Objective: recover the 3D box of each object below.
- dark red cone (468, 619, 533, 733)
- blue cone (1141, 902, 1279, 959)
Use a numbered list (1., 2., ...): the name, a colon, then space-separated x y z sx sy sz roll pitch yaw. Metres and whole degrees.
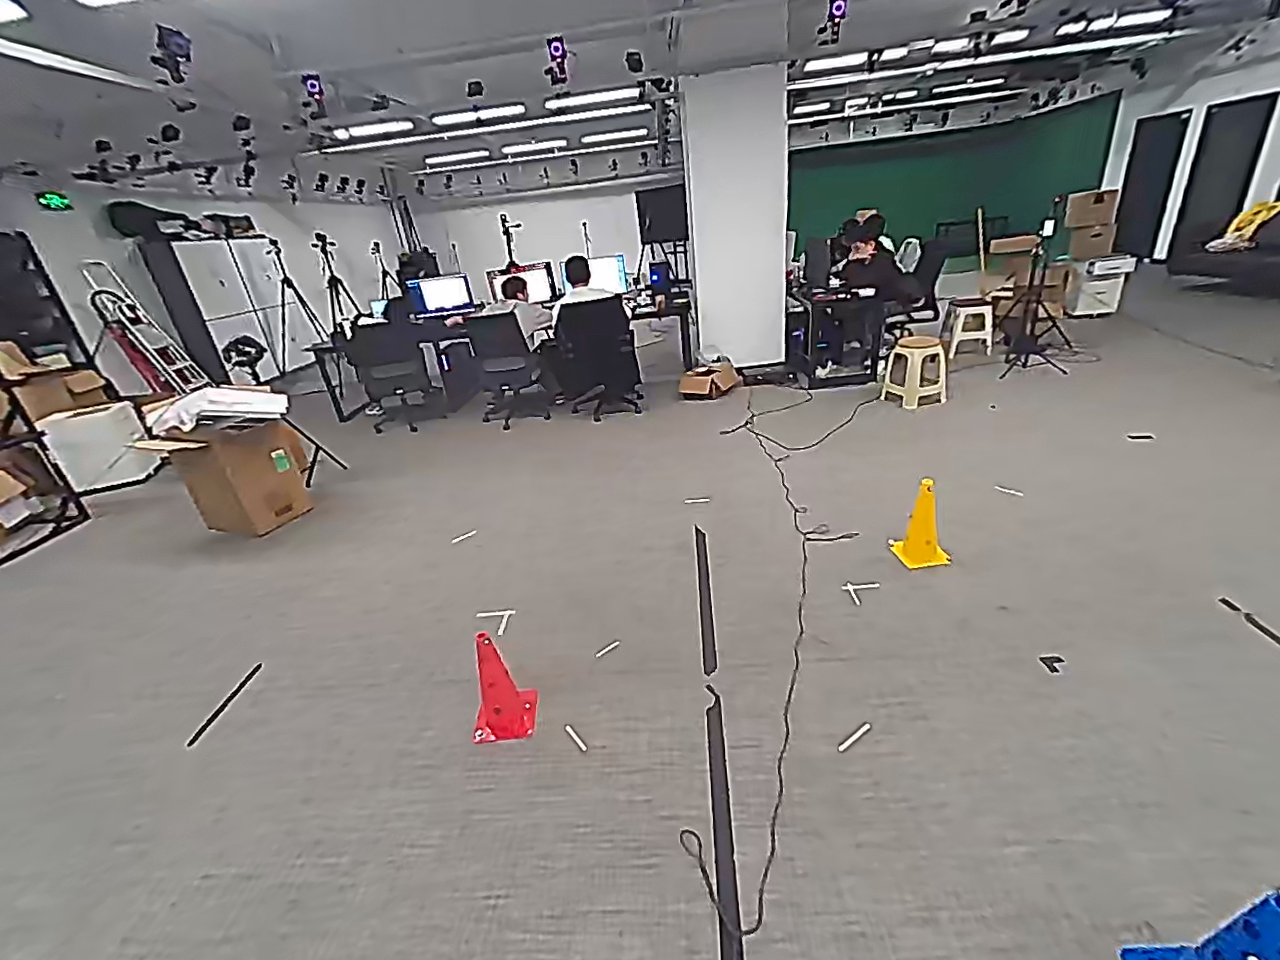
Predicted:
1. dark red cone: -0.480 0.617 1.747 0.201 0.394 0.202 -7 25 -2
2. blue cone: 1.063 0.836 0.928 0.192 0.380 0.193 -4 25 6
